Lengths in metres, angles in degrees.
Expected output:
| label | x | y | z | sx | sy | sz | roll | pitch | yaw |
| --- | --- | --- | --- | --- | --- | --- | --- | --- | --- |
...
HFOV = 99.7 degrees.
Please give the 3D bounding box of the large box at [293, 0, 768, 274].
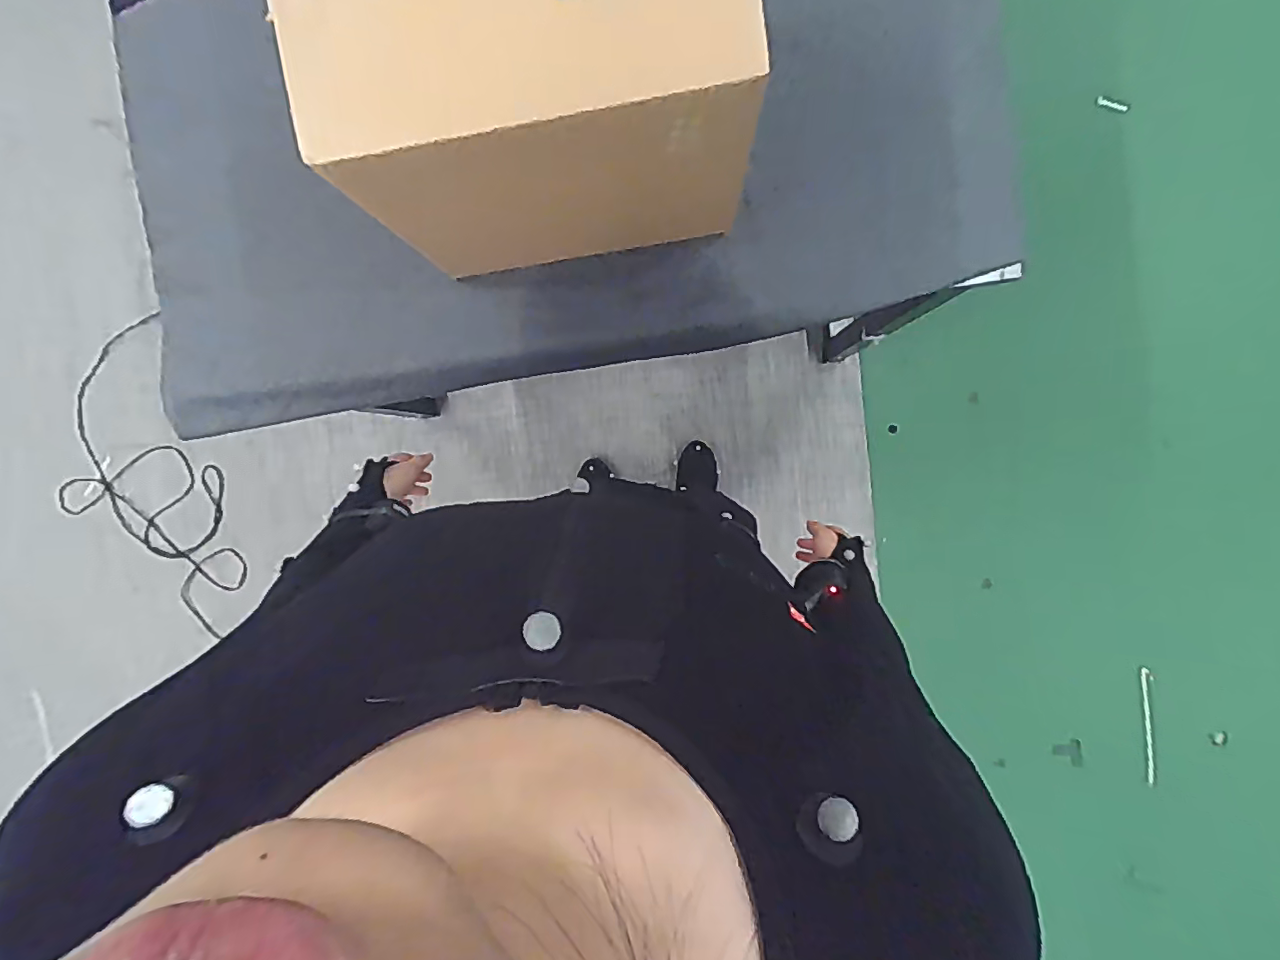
| label | x | y | z | sx | sy | sz | roll | pitch | yaw |
| --- | --- | --- | --- | --- | --- | --- | --- | --- | --- |
| large box | -0.103 | -0.466 | 0.609 | 0.408 | 0.320 | 0.320 | -9 | 93 | 4 |
